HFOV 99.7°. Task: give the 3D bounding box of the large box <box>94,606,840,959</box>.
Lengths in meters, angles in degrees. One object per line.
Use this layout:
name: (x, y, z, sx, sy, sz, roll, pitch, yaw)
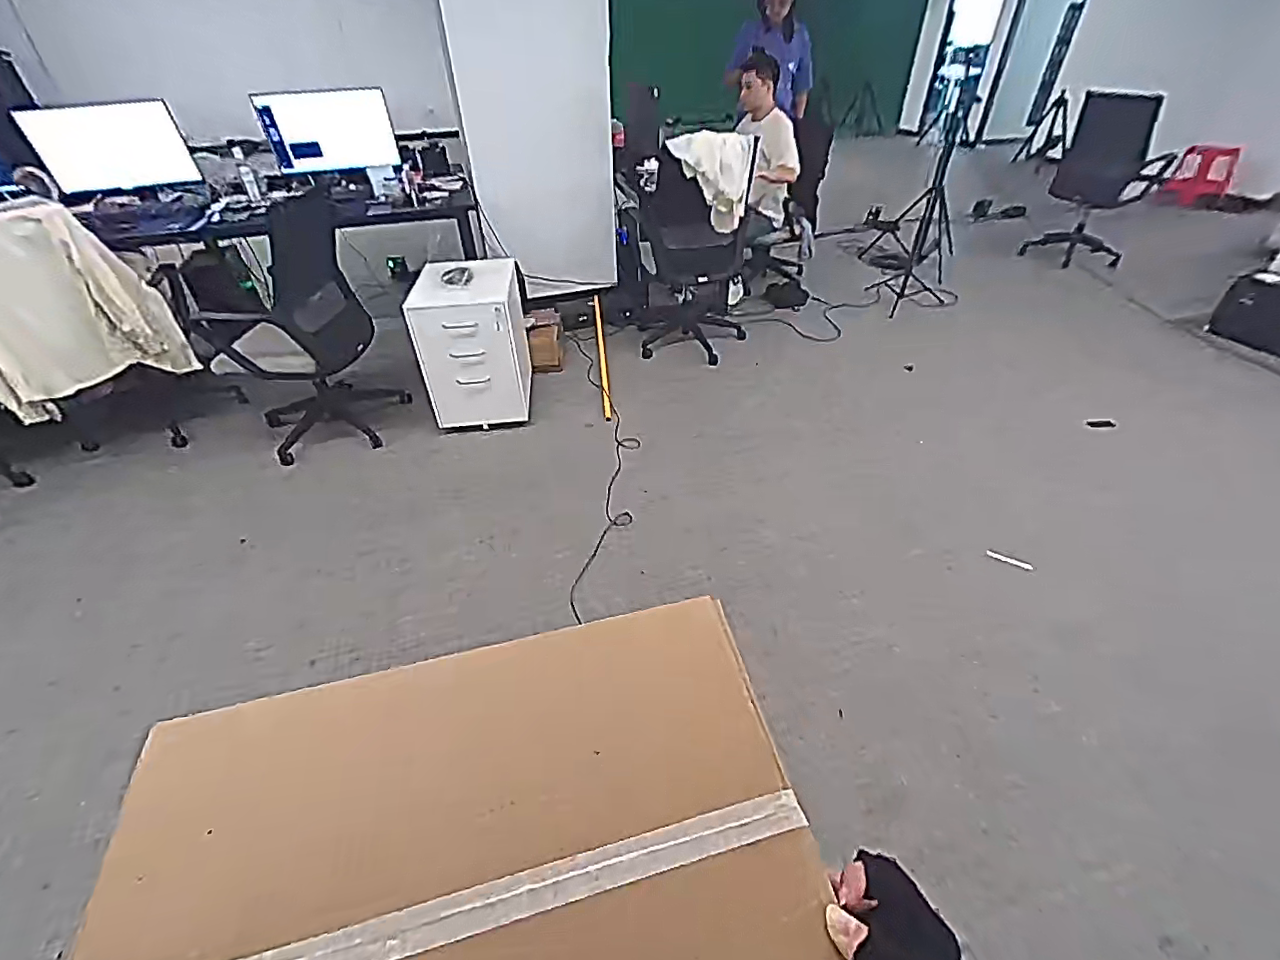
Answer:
large box: (-0.099, 0.349, 0.422, 0.408, 0.320, 0.320, -11, 48, -10)
